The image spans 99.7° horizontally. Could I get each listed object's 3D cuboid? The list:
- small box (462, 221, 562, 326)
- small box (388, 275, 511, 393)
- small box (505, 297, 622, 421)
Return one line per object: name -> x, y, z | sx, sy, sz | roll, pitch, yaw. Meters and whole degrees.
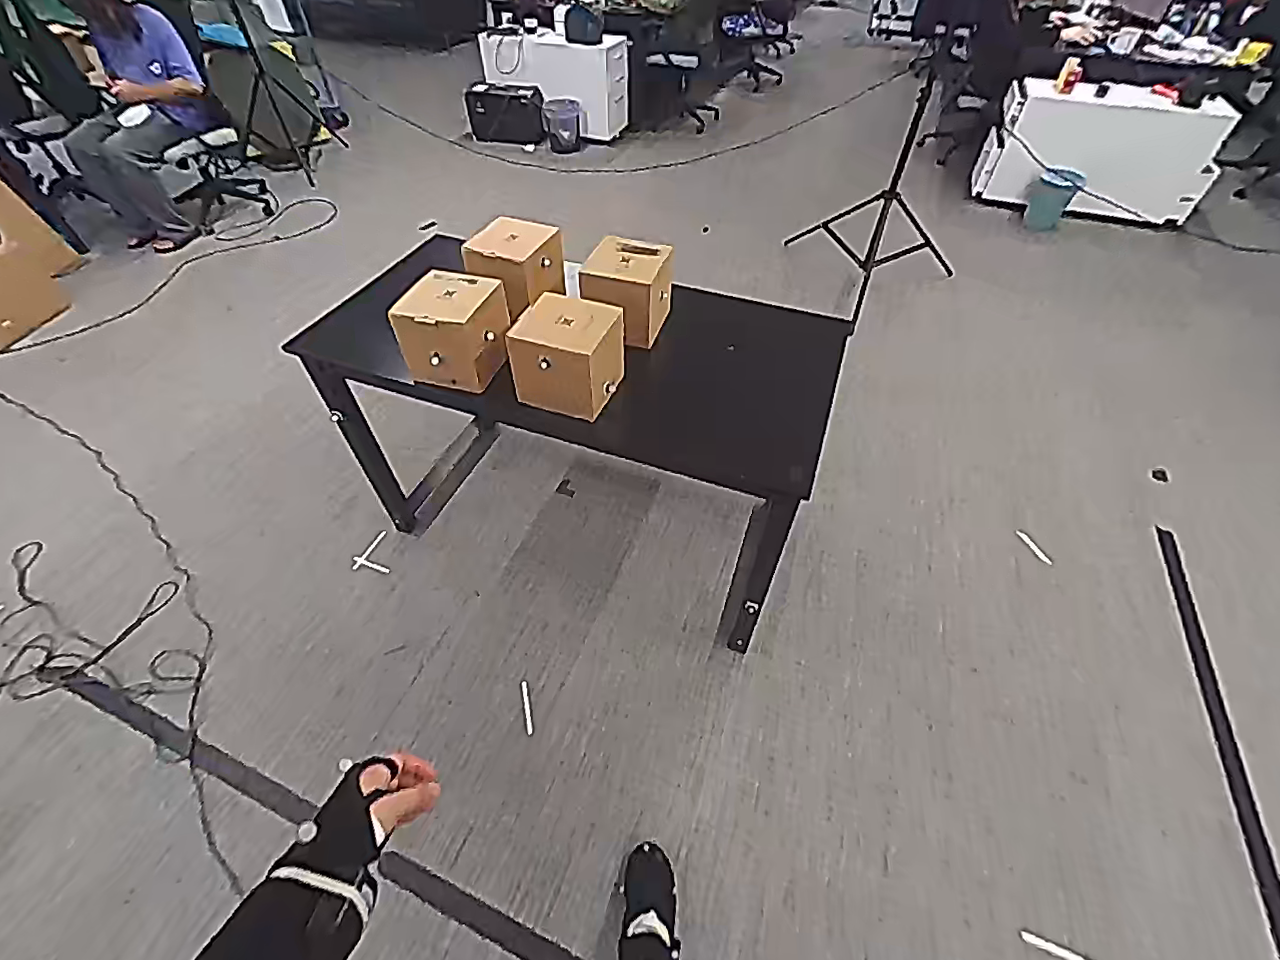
small box -> -0.301, -0.499, 1.318 | 0.168, 0.176, 0.179 | 17, 51, 14
small box -> -0.390, -0.307, 1.148 | 0.168, 0.176, 0.179 | 12, 50, 9
small box -> -0.146, -0.243, 1.096 | 0.179, 0.176, 0.168 | 16, 51, 12
